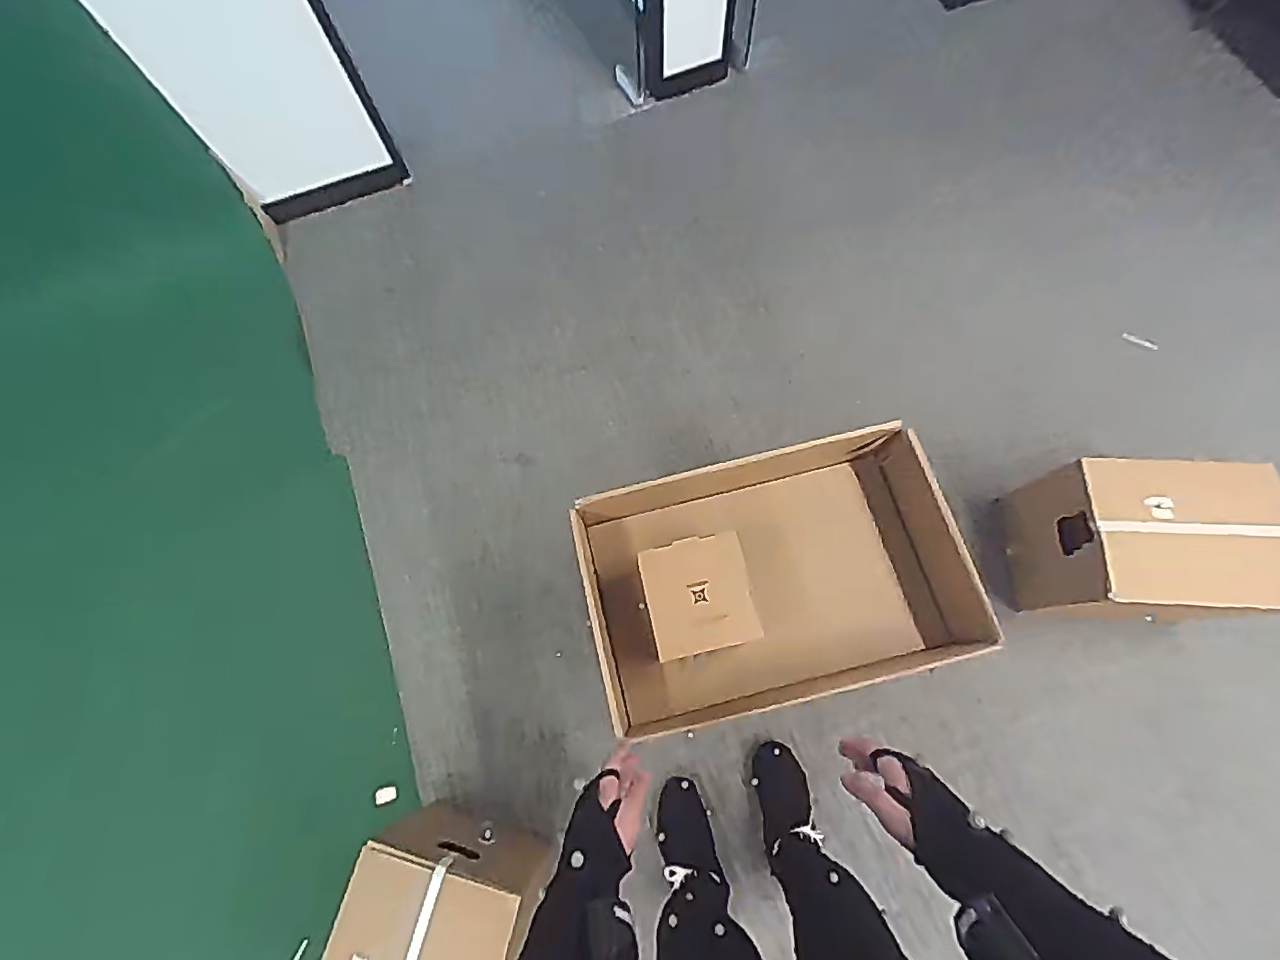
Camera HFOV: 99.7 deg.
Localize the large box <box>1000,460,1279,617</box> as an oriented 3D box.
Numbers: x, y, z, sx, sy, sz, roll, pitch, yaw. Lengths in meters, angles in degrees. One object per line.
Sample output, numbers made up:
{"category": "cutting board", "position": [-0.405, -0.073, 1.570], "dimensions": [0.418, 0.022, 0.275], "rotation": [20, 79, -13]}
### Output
{"category": "large box", "position": [1.151, 0.150, 1.260], "dimensions": [0.408, 0.320, 0.320], "rotation": [2, 71, 4]}
